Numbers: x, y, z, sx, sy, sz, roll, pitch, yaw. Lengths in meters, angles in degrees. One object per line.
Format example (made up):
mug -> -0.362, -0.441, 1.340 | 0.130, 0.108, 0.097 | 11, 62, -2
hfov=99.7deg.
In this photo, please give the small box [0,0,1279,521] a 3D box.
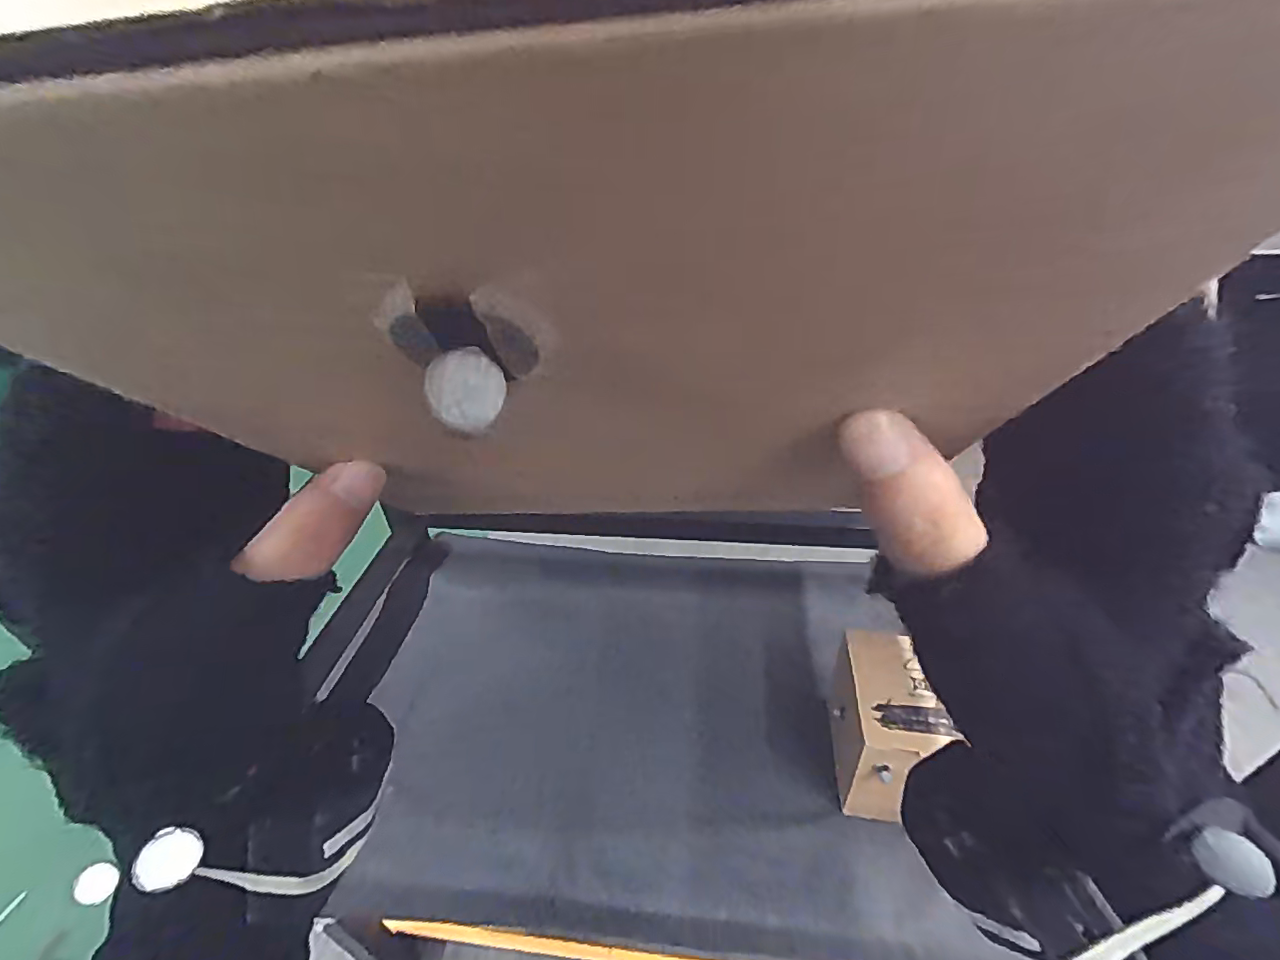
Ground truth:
small box -> -0.014, -0.084, 0.149 | 0.179, 0.176, 0.168 | -1, 74, 6
